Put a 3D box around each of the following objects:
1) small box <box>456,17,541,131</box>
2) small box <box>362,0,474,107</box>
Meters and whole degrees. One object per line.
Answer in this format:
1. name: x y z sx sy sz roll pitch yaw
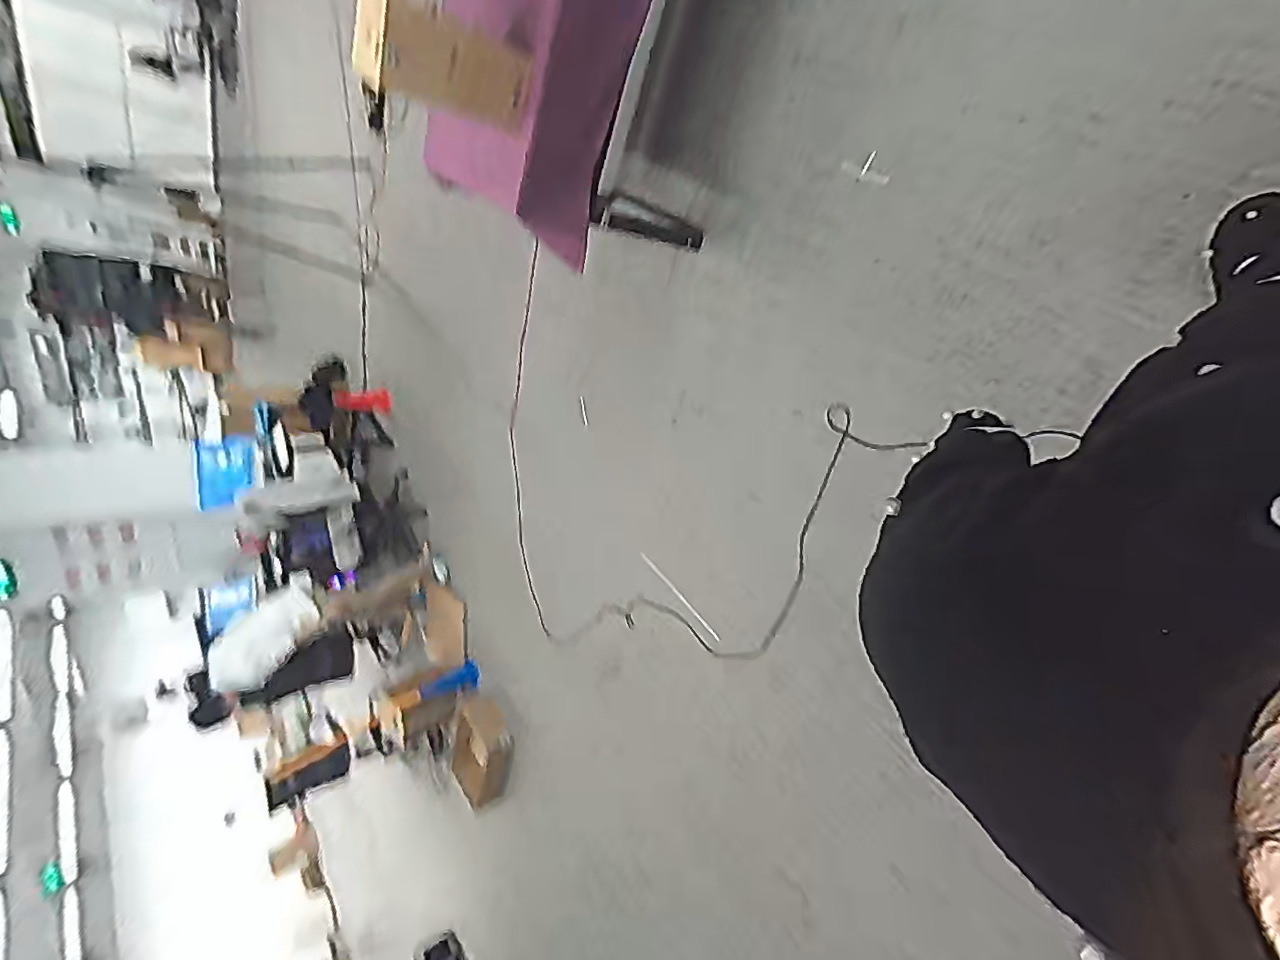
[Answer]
1. small box: -0.366 -0.968 1.293 0.179 0.176 0.168 48 128 30
2. small box: -0.486 -0.950 1.181 0.179 0.176 0.168 49 130 31
